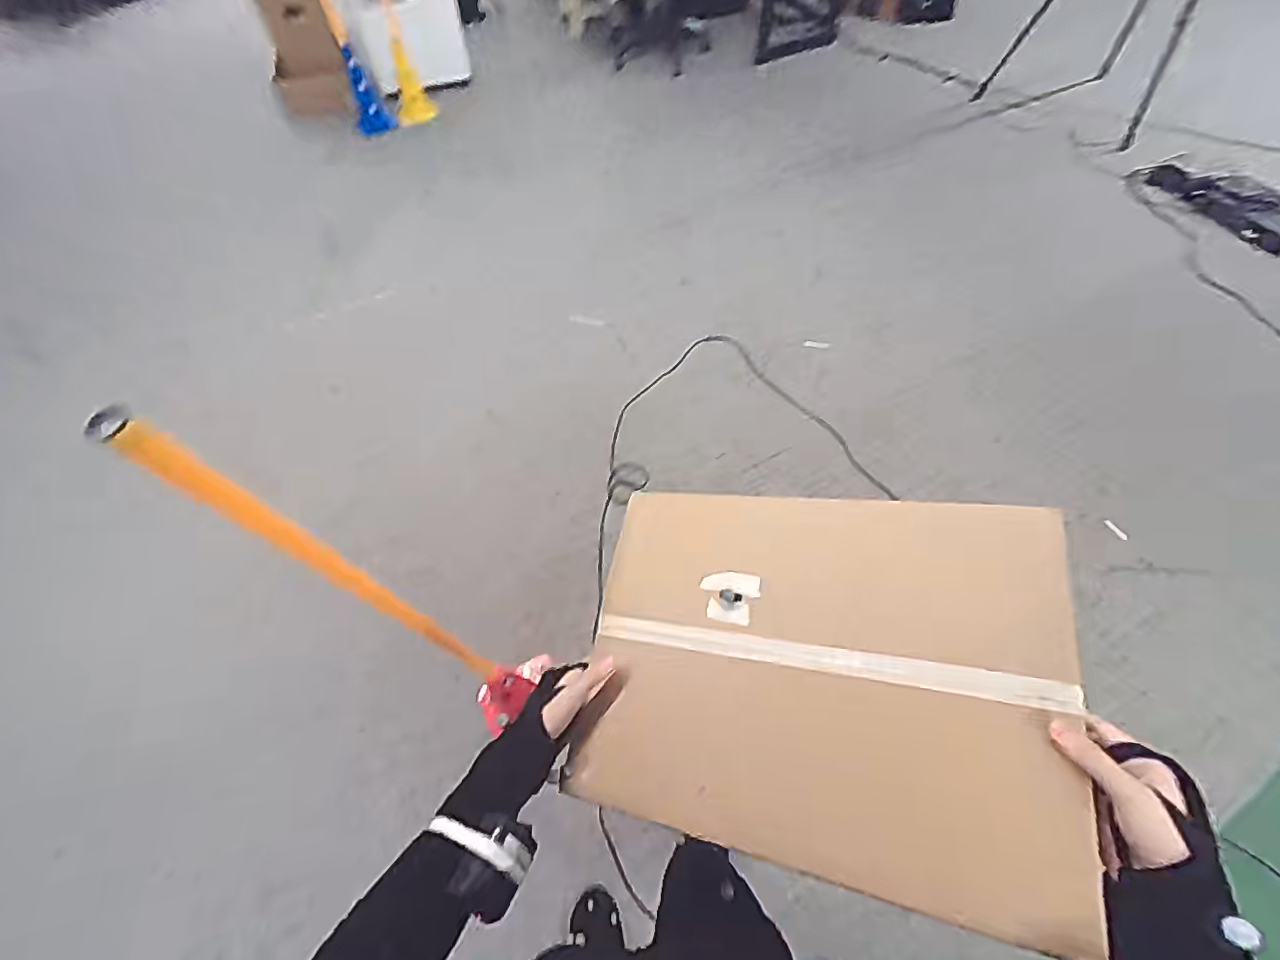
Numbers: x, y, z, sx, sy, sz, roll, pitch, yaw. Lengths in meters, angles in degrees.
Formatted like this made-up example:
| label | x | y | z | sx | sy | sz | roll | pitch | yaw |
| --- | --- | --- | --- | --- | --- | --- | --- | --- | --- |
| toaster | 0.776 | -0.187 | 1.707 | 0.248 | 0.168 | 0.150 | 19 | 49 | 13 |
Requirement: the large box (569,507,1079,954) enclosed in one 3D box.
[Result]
| label | x | y | z | sx | sy | sz | roll | pitch | yaw |
| --- | --- | --- | --- | --- | --- | --- | --- | --- | --- |
| large box | 0.199 | 0.237 | 0.613 | 0.408 | 0.320 | 0.320 | 2 | 63 | 27 |
